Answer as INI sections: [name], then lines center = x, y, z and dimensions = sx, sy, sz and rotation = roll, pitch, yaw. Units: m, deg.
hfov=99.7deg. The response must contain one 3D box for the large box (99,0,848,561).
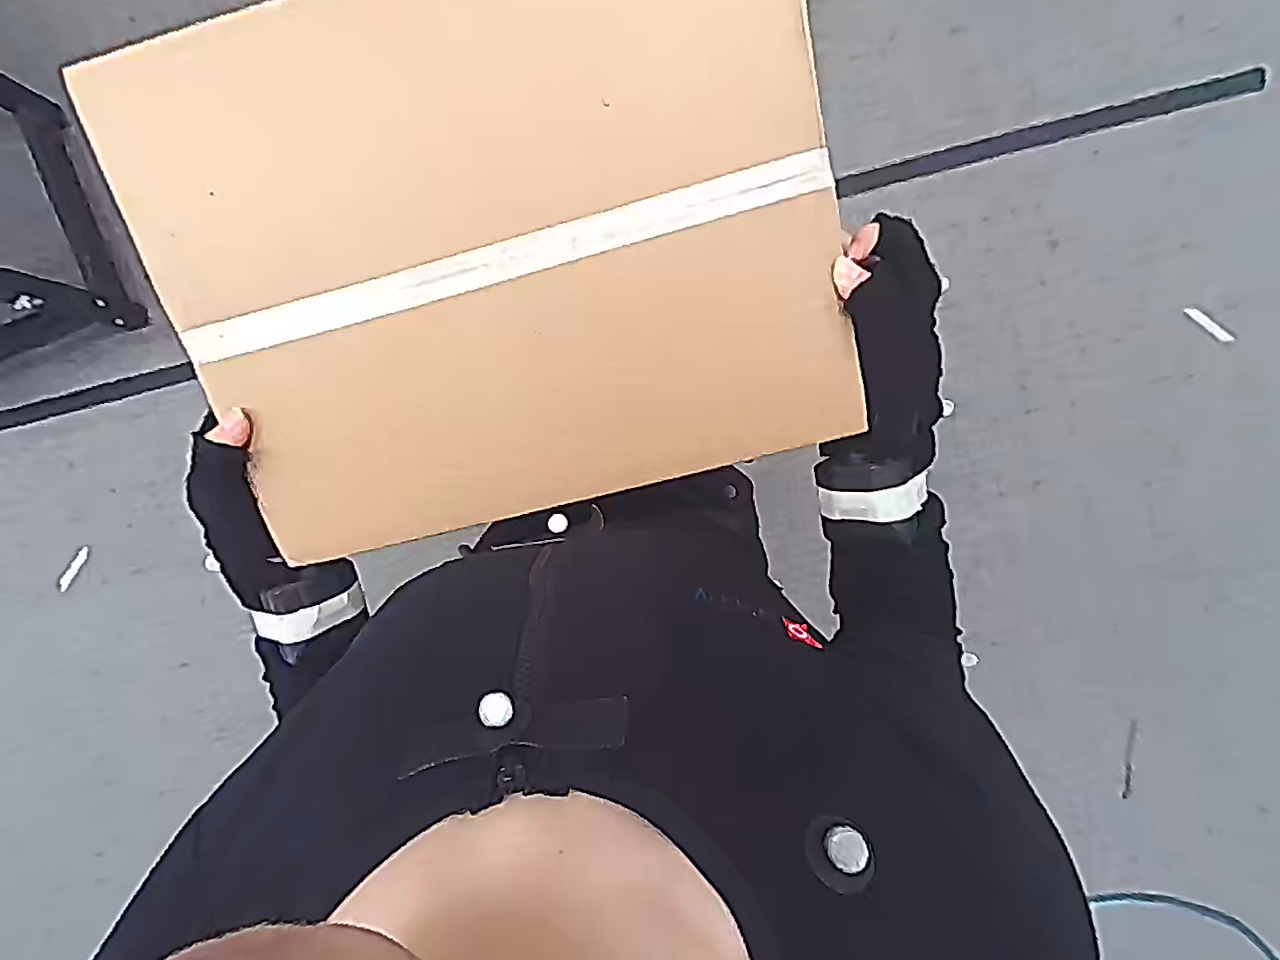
[large box]
center = -0.086, -0.171, 0.480
dimensions = 0.408, 0.320, 0.320
rotation = -14, 104, 5
